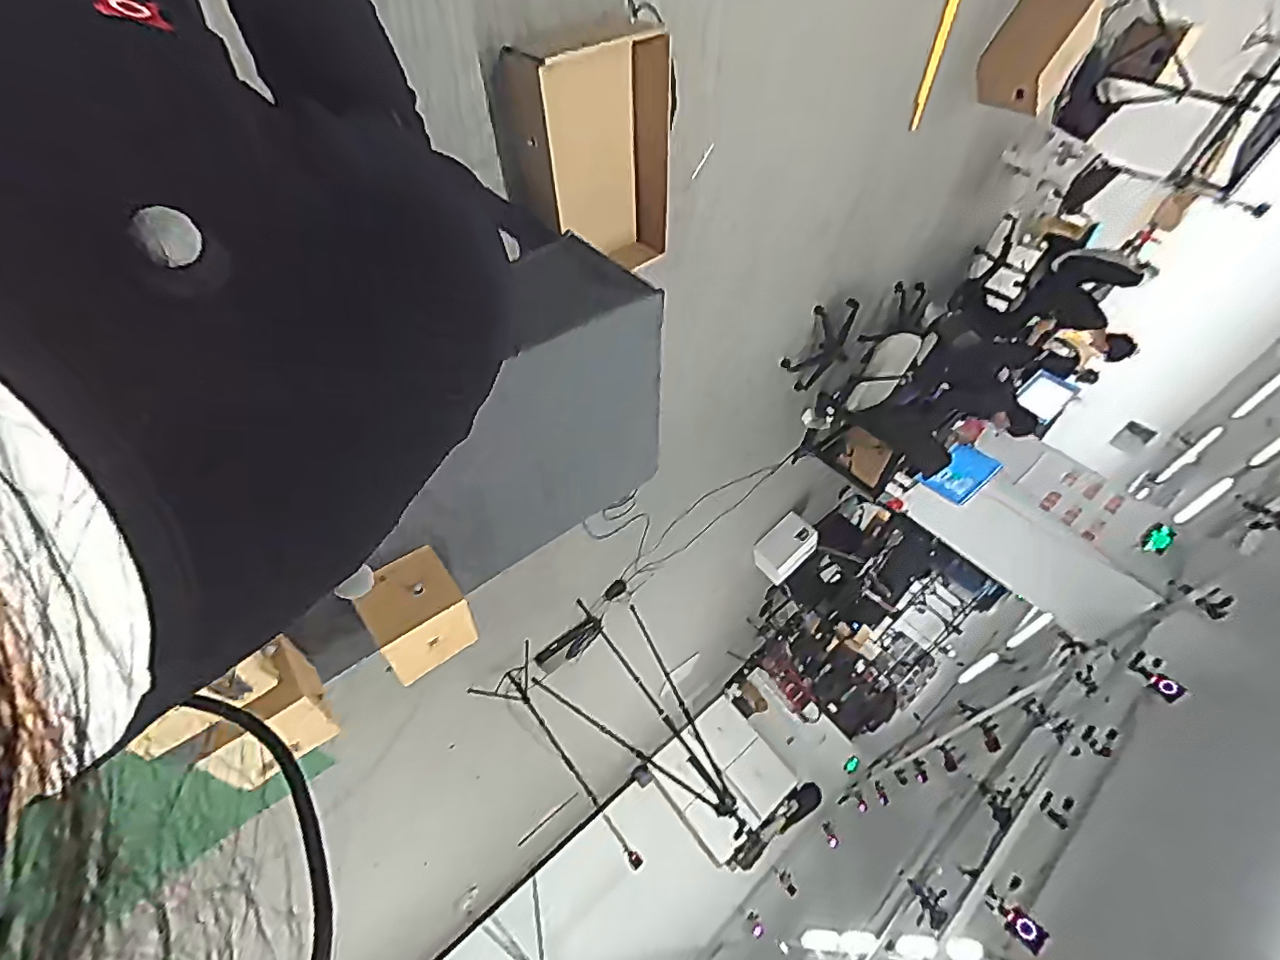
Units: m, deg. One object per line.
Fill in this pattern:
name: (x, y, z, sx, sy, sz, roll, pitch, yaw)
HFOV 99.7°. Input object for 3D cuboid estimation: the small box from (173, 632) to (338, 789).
small box: (-0.679, 0.405, 0.964, 0.168, 0.176, 0.179, -31, 147, -28)

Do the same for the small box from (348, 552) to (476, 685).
small box: (-0.459, 0.270, 1.096, 0.168, 0.176, 0.179, -30, 147, -28)
